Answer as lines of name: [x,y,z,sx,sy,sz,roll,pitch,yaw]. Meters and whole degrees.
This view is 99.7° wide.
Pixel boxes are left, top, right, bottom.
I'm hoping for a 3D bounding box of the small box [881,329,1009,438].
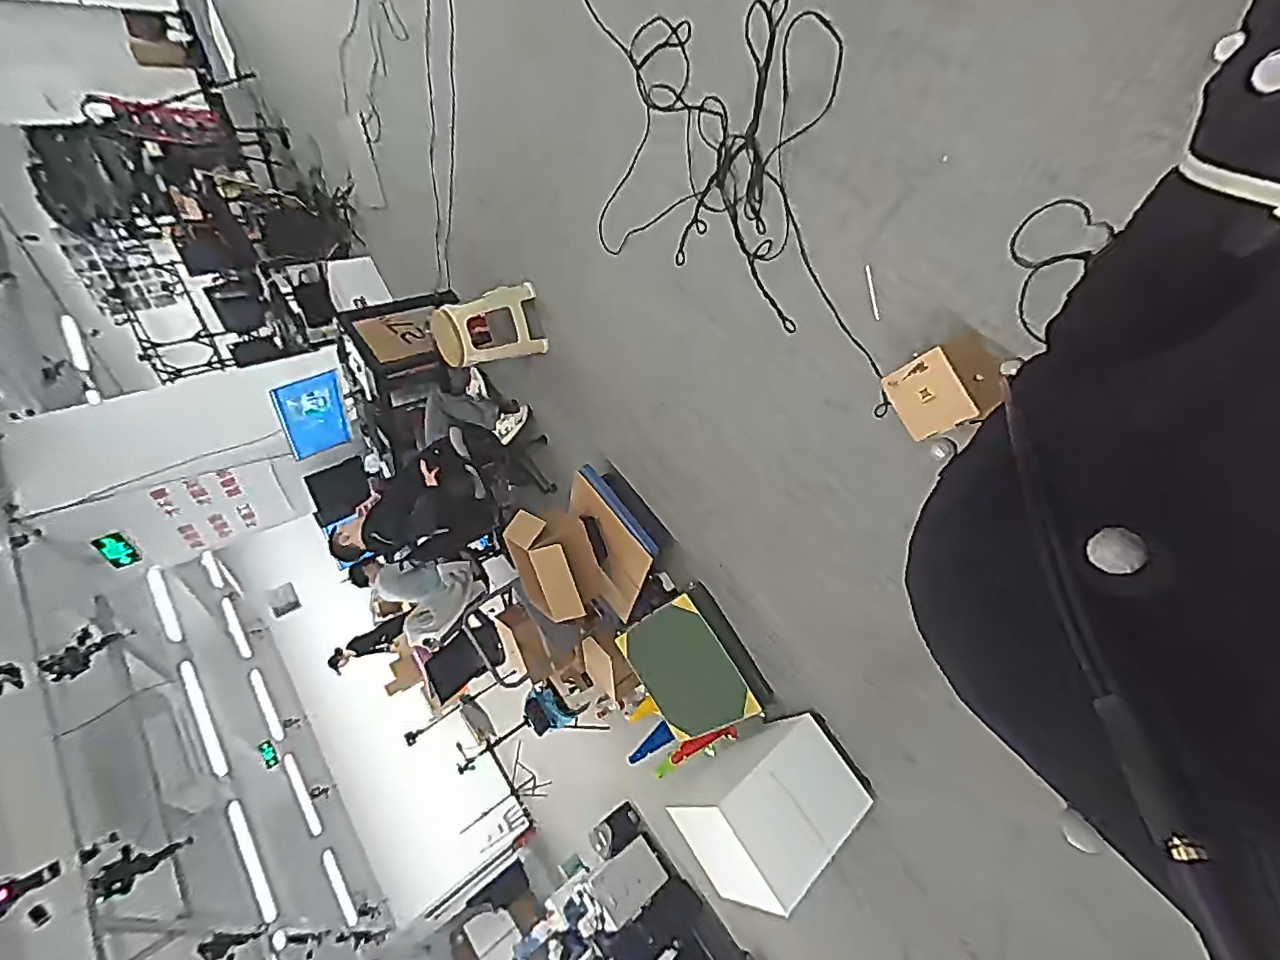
small box: [0.718,-0.227,1.269,0.179,0.176,0.168,61,149,5]
